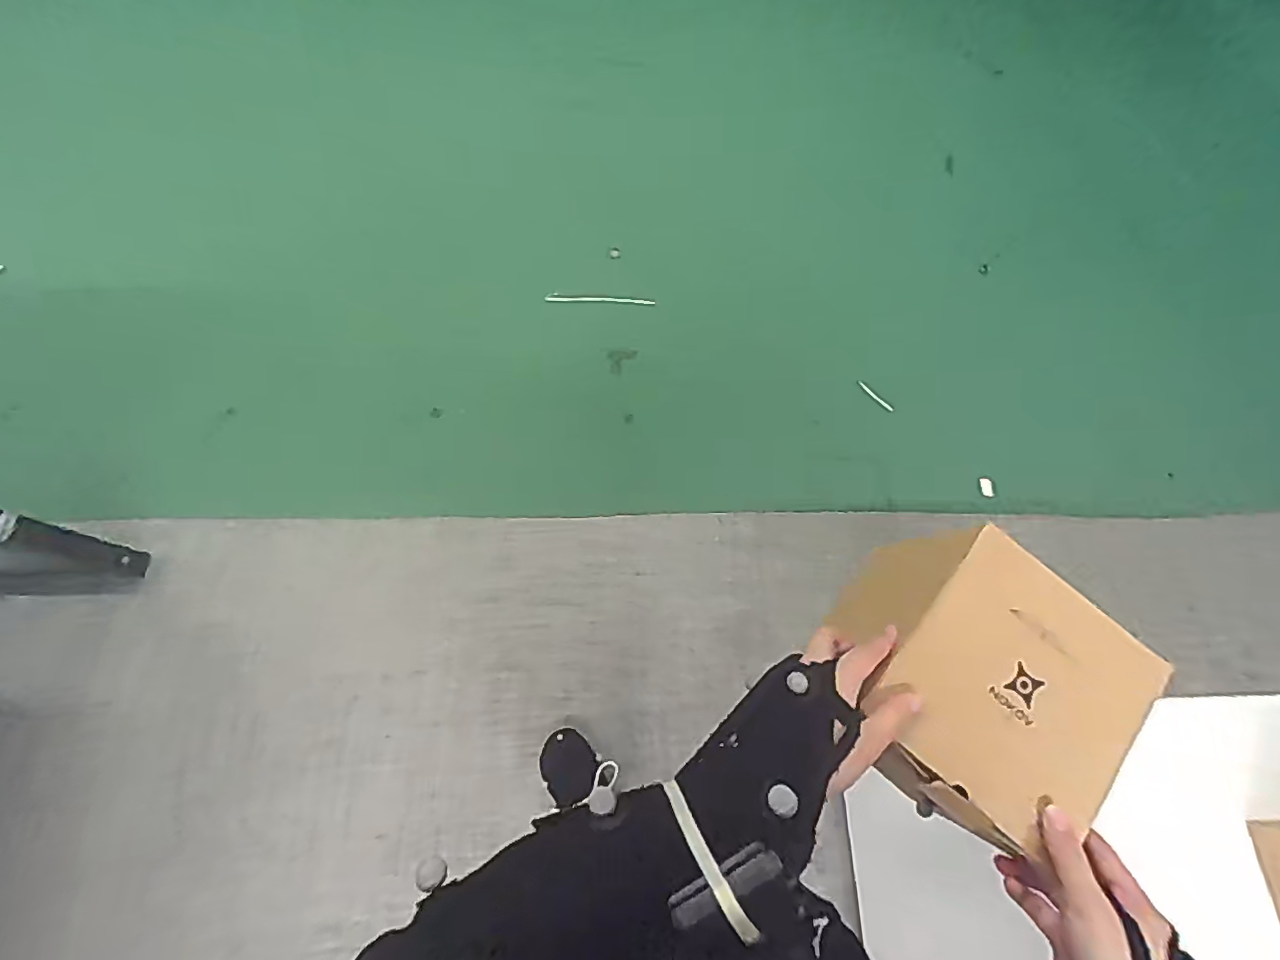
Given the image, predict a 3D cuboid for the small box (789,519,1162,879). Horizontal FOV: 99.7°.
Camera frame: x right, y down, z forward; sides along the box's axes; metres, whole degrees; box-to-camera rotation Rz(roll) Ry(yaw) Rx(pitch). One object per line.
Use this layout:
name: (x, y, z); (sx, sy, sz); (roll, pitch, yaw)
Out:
small box: (0.248, 0.161, 0.447); (0.168, 0.176, 0.179); (40, 75, 4)
